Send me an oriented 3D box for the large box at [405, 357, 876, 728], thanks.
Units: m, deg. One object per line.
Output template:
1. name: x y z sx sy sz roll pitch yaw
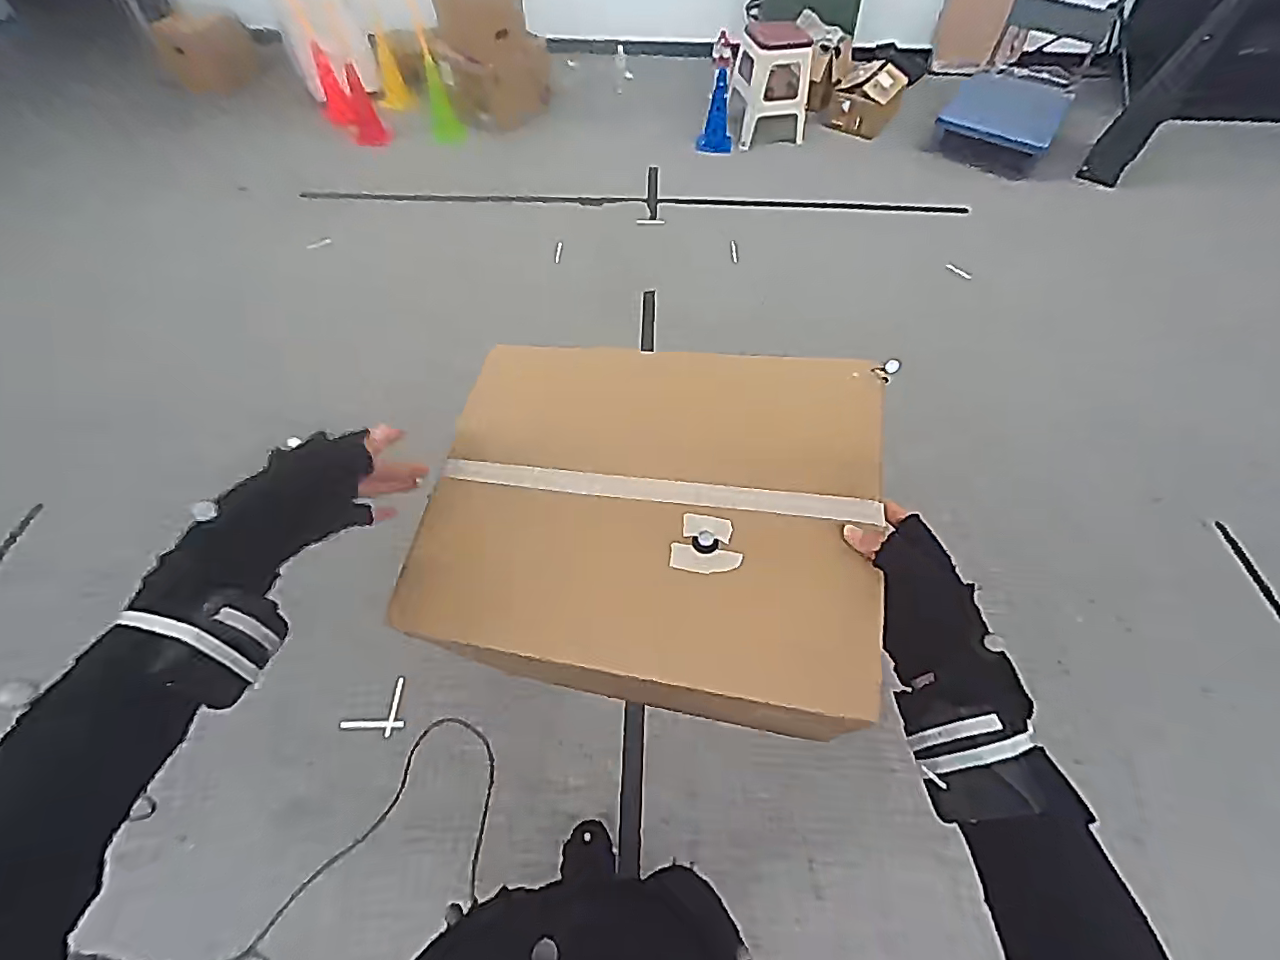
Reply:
1. large box: 0.030 0.080 0.632 0.408 0.320 0.320 6 65 14
